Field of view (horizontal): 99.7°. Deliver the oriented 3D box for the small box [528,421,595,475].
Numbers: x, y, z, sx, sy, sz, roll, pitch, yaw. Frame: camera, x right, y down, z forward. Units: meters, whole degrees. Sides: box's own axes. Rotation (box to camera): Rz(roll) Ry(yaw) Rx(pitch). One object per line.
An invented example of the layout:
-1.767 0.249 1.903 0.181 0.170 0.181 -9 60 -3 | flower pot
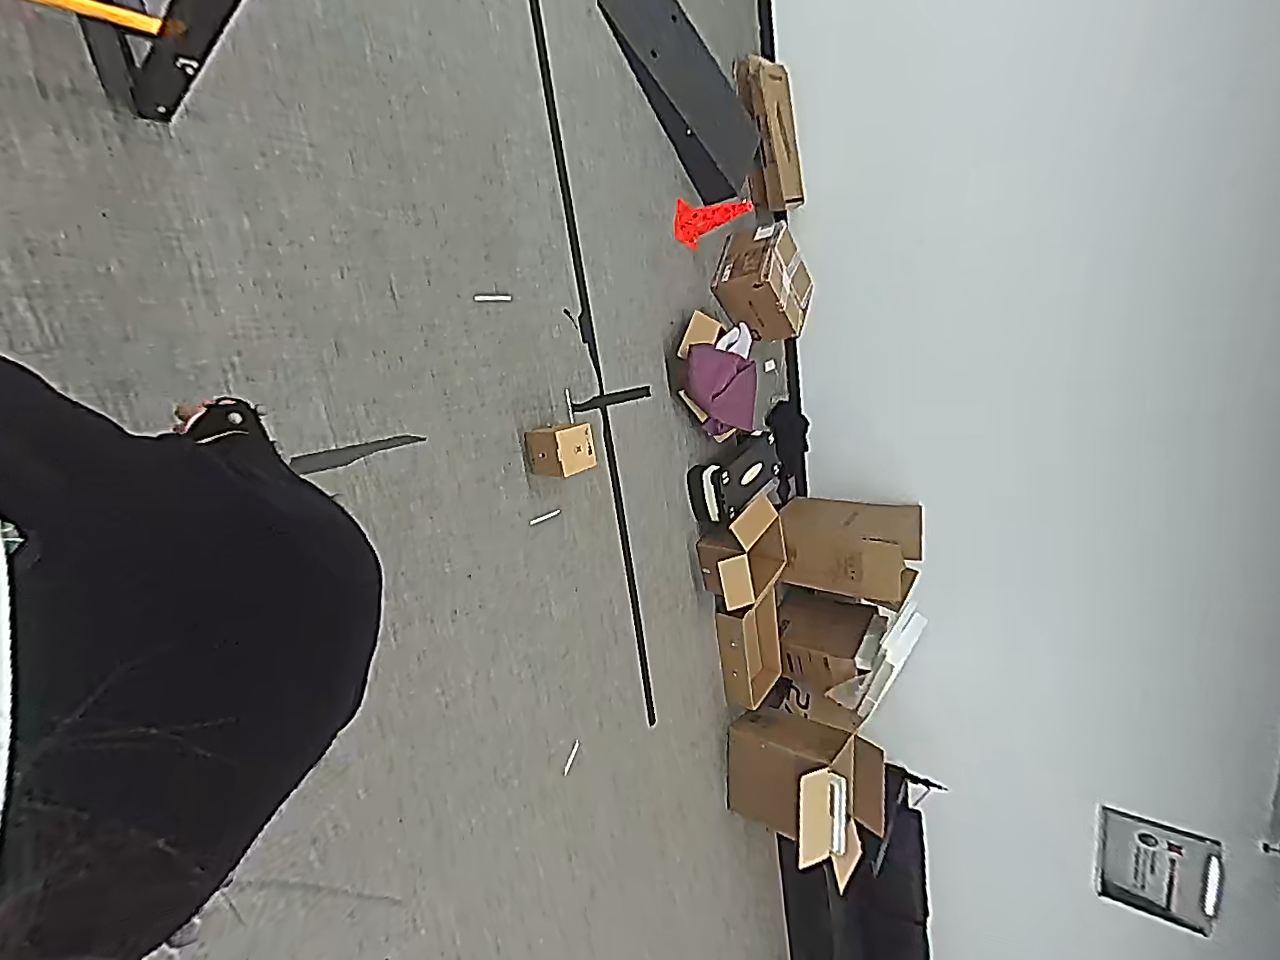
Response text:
-0.294 -0.117 1.982 0.179 0.176 0.168 -24 110 -47 | small box
